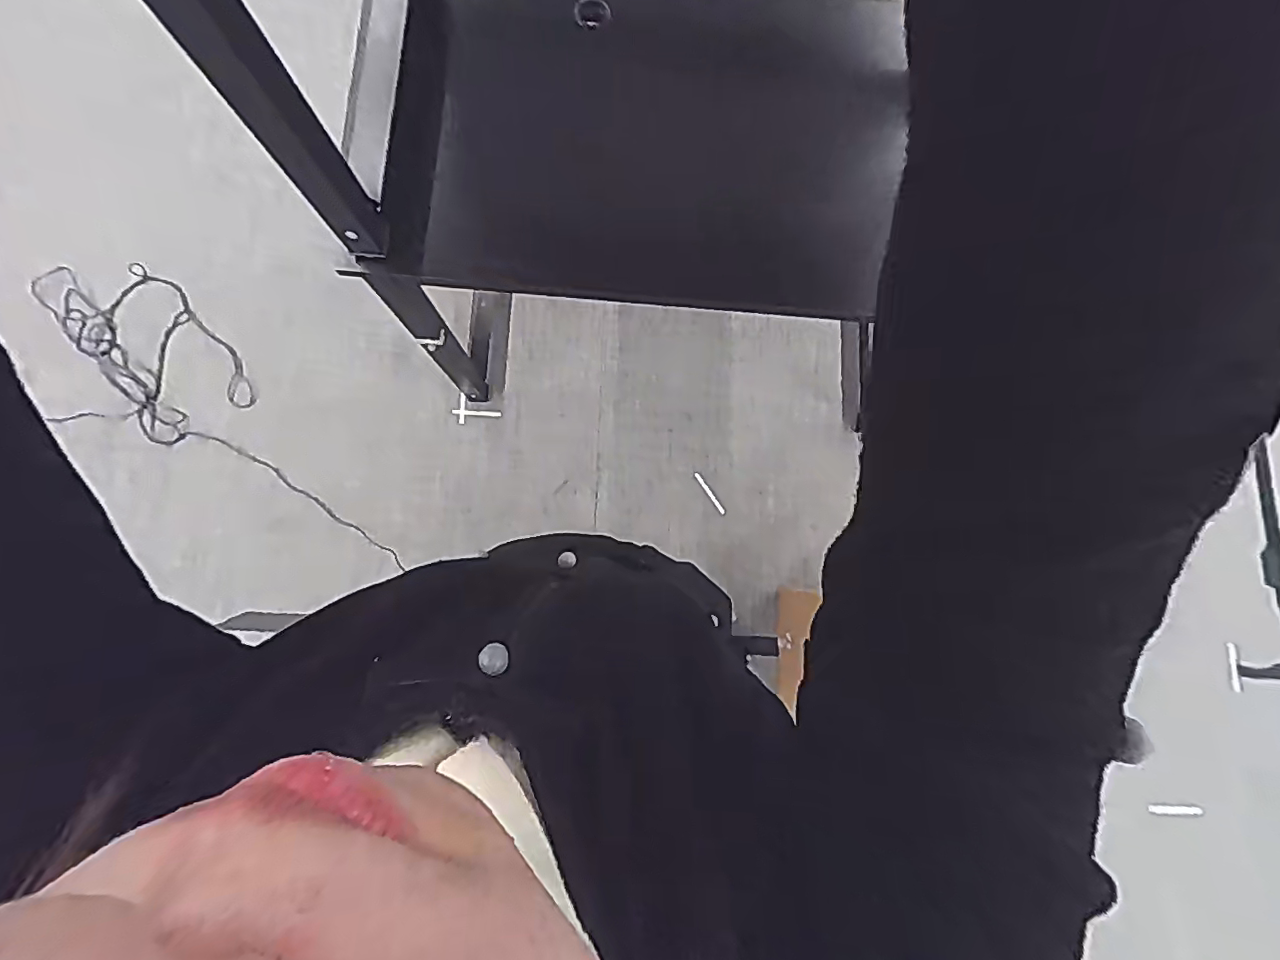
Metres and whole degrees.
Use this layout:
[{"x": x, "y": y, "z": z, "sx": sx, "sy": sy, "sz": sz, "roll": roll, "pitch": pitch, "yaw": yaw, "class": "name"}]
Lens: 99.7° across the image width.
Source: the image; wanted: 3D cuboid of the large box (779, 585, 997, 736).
[{"x": 0.589, "y": 0.430, "z": 1.353, "sx": 0.408, "sy": 0.320, "sz": 0.320, "roll": 4, "pitch": 83, "yaw": -4, "class": "large box"}]
